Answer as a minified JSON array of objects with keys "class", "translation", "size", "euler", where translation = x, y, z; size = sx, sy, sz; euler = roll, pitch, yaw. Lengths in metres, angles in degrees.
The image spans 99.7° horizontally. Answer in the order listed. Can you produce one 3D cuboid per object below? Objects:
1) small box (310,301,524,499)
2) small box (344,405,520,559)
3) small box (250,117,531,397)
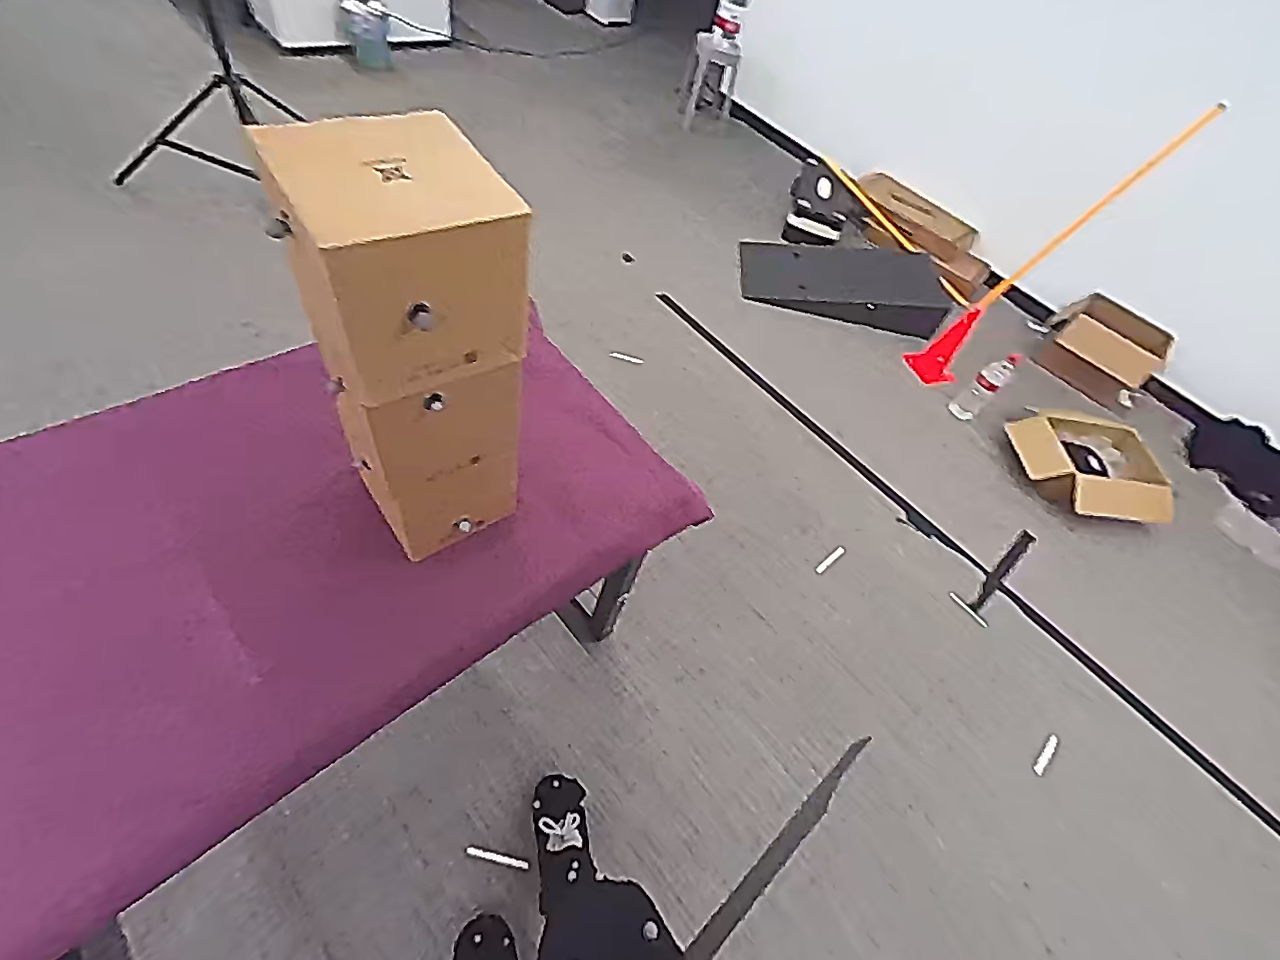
[{"class":"small box","translation":[-0.251,-0.111,0.634],"size":[0.168,0.176,0.179],"euler":[-26,64,-28]},{"class":"small box","translation":[-0.287,-0.020,0.766],"size":[0.168,0.176,0.179],"euler":[-28,66,-29]},{"class":"small box","translation":[-0.214,-0.199,0.502],"size":[0.168,0.176,0.179],"euler":[-27,65,-28]}]
